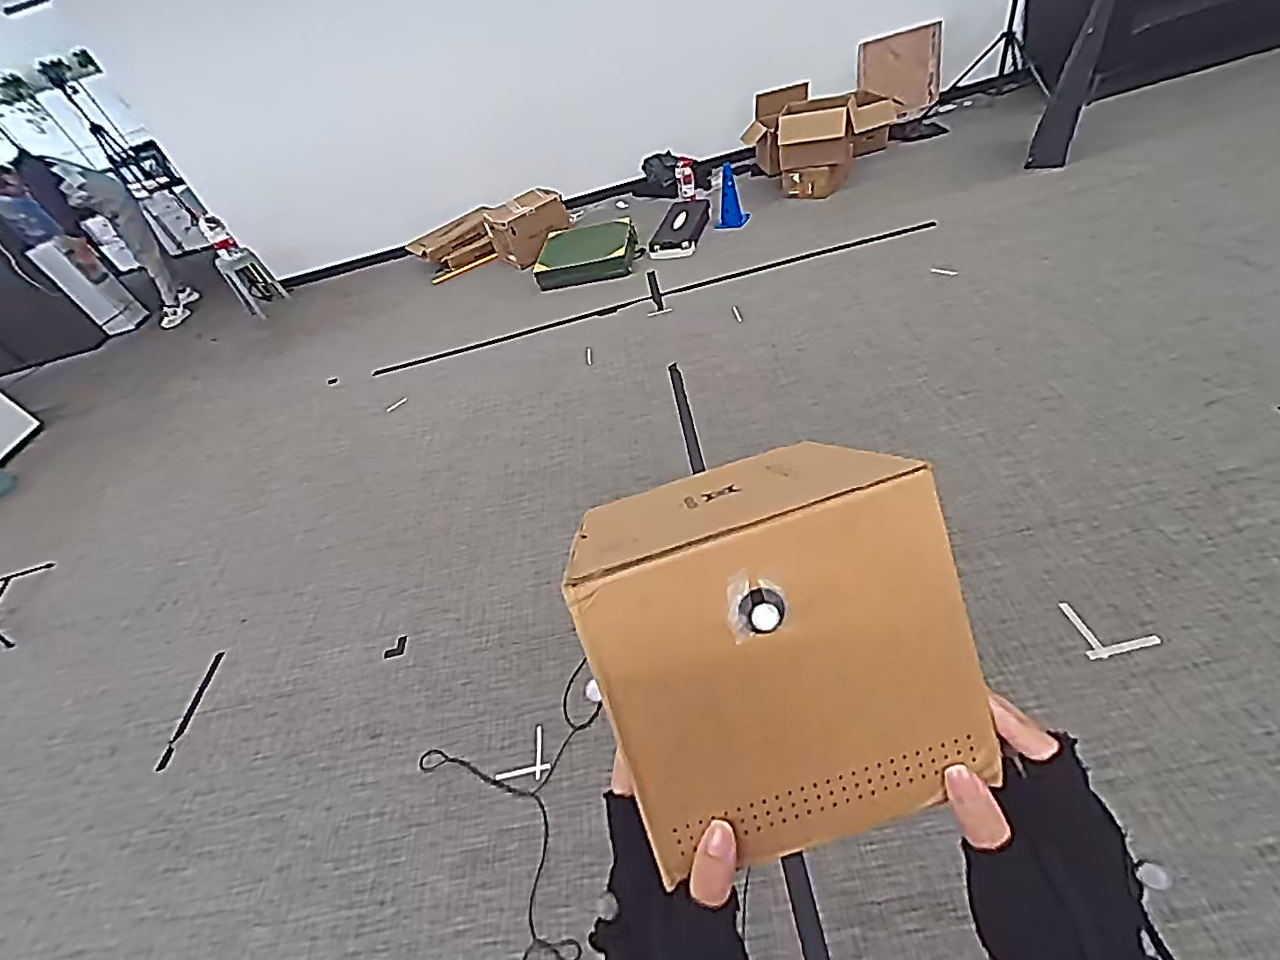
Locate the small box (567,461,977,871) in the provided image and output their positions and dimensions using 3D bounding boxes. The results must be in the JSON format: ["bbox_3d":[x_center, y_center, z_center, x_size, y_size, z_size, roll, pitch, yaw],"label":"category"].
[{"bbox_3d":[0.071,0.099,0.344,0.179,0.176,0.168,-18,7,1],"label":"small box"}]
